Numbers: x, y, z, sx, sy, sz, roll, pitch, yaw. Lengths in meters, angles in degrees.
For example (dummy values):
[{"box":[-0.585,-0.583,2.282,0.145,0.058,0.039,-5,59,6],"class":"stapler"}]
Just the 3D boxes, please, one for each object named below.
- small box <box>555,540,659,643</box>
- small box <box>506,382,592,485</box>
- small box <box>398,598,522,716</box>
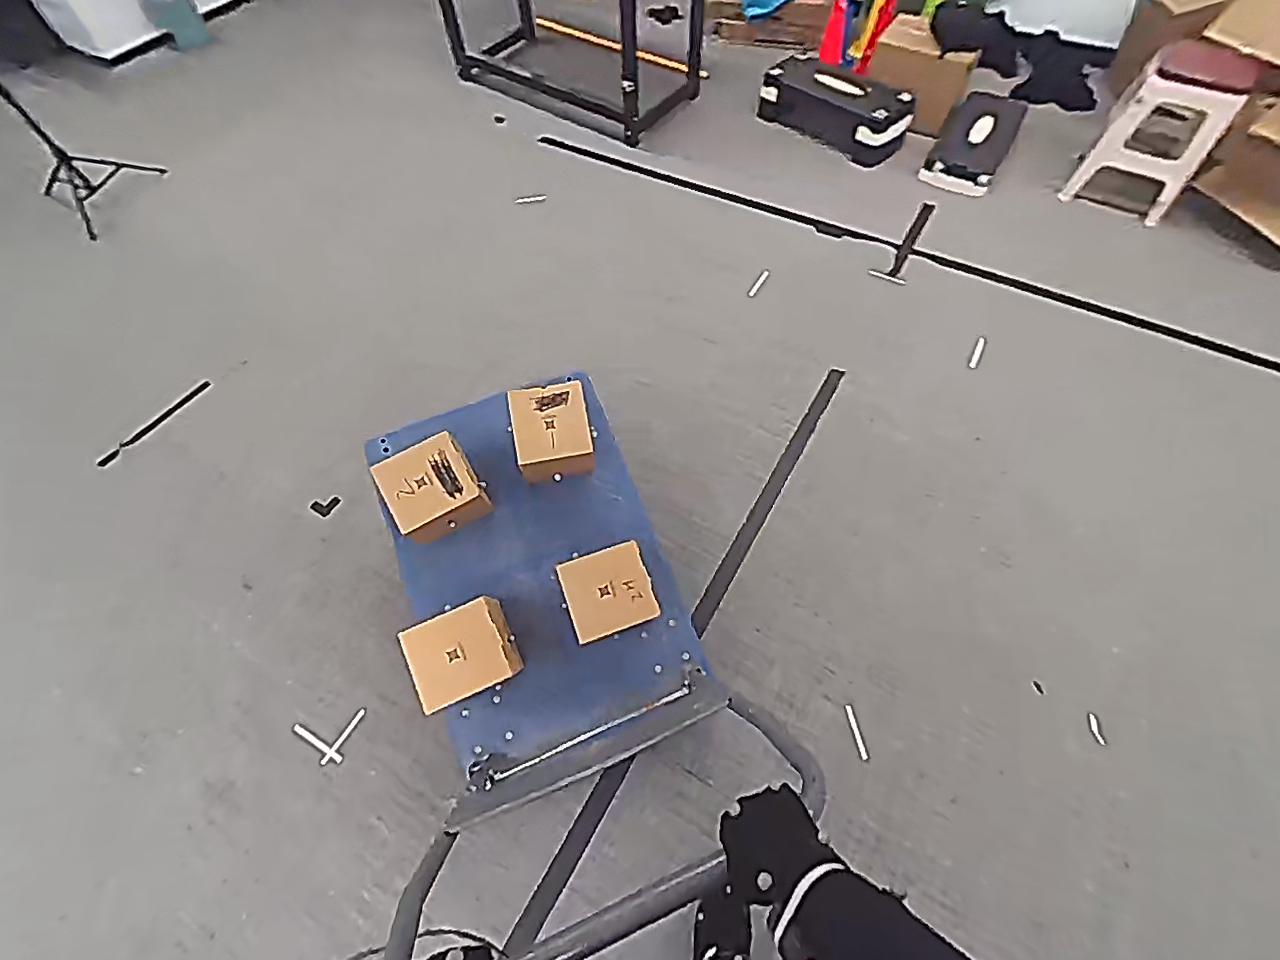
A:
[{"box":[-0.072,0.246,1.170,0.179,0.176,0.168,-18,77,-10],"class":"small box"},{"box":[-0.209,-0.104,1.259,0.168,0.176,0.179,-11,76,-8],"class":"small box"},{"box":[-0.361,0.360,1.114,0.179,0.176,0.168,-24,78,-12],"class":"small box"}]
